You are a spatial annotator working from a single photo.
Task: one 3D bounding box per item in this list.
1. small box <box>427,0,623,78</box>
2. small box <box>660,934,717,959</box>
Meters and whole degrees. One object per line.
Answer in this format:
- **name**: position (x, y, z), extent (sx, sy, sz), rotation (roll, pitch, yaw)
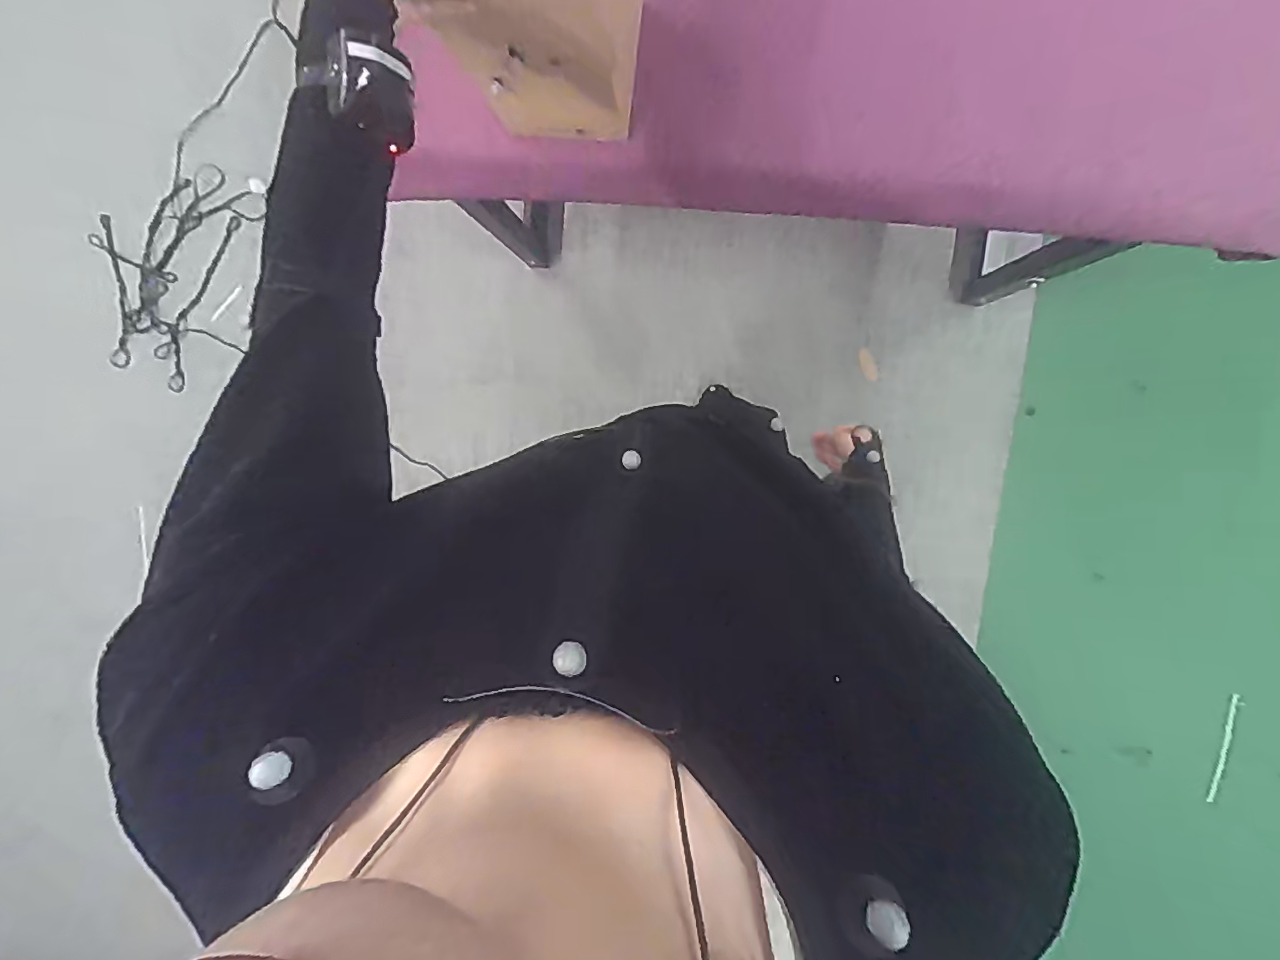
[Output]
- **small box**: position (-0.107, -0.496, 0.474), extent (0.168, 0.176, 0.179), rotation (3, 101, 7)
- **small box**: position (0.135, 1.502, 1.597), extent (0.168, 0.176, 0.179), rotation (10, 98, 5)
